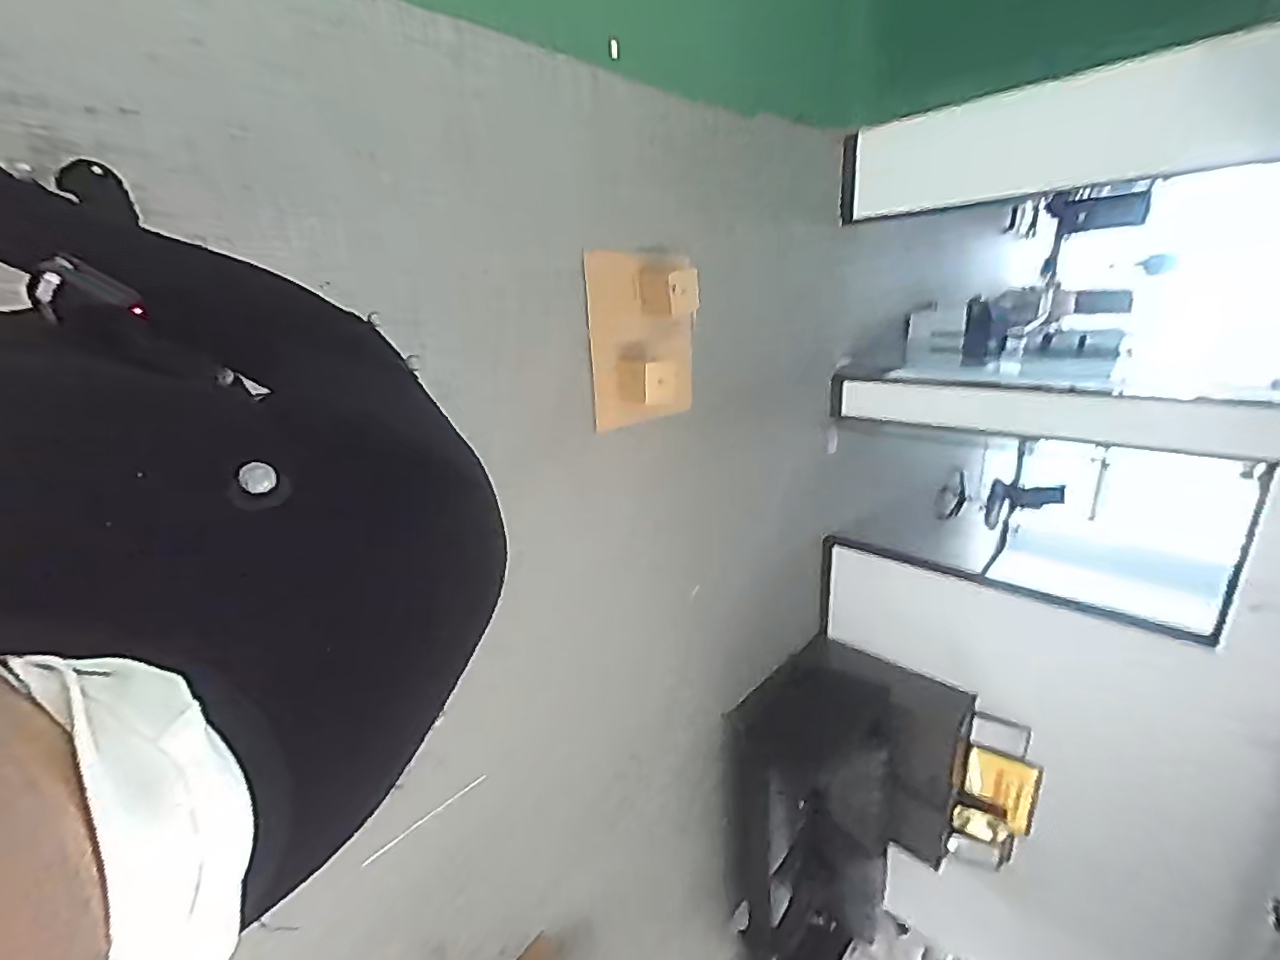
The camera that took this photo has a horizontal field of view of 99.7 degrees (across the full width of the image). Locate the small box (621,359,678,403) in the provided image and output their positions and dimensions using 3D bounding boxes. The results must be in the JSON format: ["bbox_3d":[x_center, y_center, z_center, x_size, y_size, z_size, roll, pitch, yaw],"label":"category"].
[{"bbox_3d":[0.035,-0.406,2.206,0.179,0.176,0.168,-16,112,-44],"label":"small box"}]

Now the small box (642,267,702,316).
[{"bbox_3d":[0.132,-0.772,2.206,0.179,0.176,0.168,-29,121,-38],"label":"small box"}]
